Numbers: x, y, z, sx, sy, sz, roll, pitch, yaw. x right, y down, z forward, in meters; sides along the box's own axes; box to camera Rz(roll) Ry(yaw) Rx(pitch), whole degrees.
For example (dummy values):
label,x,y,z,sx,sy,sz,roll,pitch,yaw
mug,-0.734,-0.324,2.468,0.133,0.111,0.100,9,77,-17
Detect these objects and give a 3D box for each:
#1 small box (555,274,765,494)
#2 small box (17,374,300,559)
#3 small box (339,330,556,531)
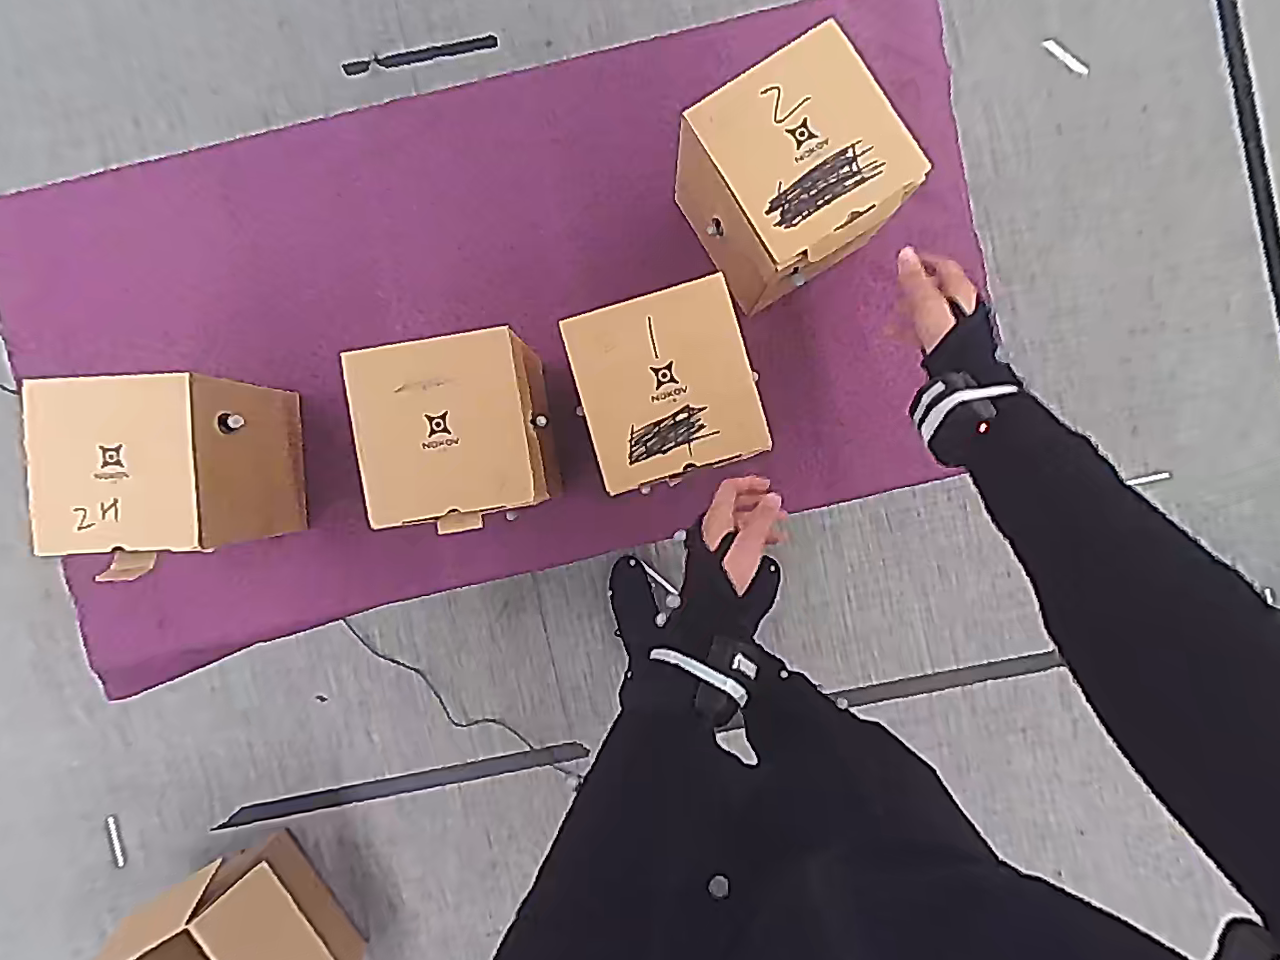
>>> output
label,x,y,z,sx,sy,sz,roll,pitch,yaw
small box,0.022,-0.093,0.593,0.168,0.176,0.179,-16,90,1
small box,-0.510,-0.015,0.599,0.168,0.176,0.179,-2,92,1
small box,-0.195,-0.050,0.598,0.168,0.176,0.179,-9,92,0
